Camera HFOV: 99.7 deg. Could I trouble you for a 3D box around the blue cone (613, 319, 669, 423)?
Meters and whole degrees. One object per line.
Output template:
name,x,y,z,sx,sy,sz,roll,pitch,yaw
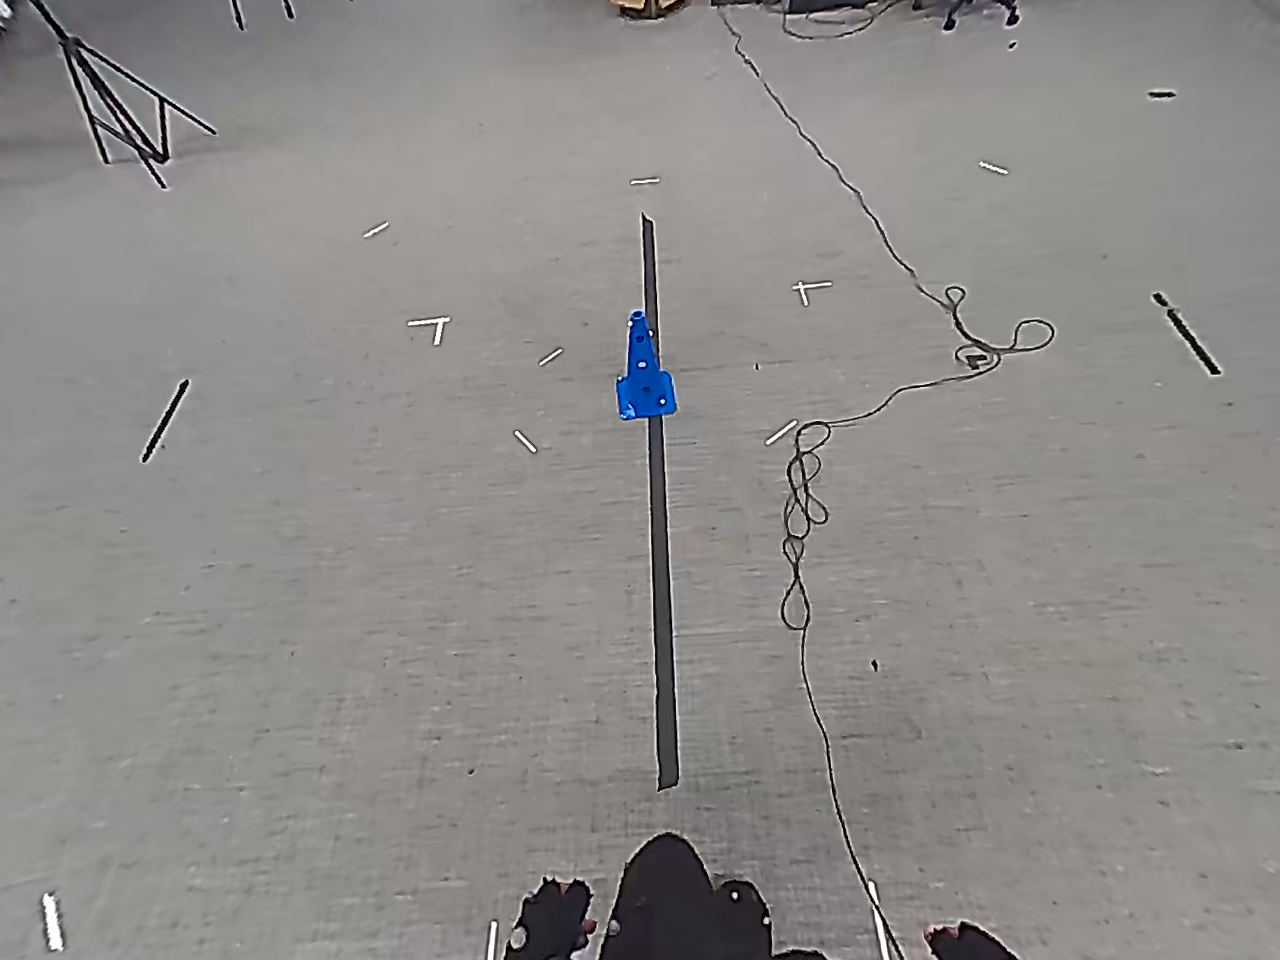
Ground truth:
blue cone,-0.013,-0.375,1.777,0.192,0.380,0.193,-7,56,2
